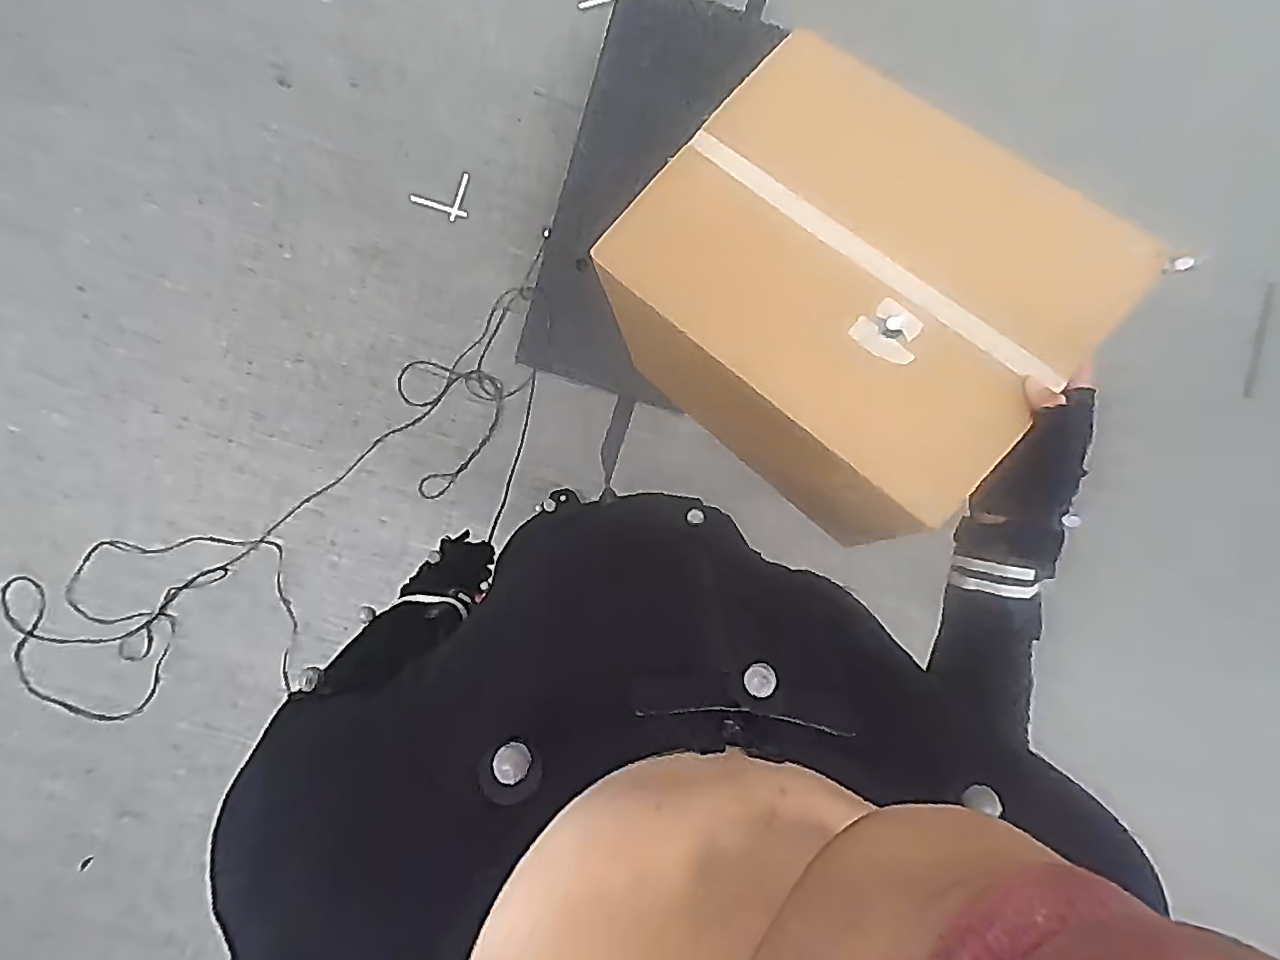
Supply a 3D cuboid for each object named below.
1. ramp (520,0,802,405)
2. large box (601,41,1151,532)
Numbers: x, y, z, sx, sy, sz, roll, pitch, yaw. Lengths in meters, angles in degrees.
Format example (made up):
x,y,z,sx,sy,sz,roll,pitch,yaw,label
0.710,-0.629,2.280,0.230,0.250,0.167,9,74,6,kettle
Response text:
x,y,z,sx,sy,sz,roll,pitch,yaw,label
0.047,-0.743,1.434,0.509,0.206,0.991,15,87,-7,ramp
0.221,-0.188,0.651,0.408,0.320,0.320,42,89,12,large box
